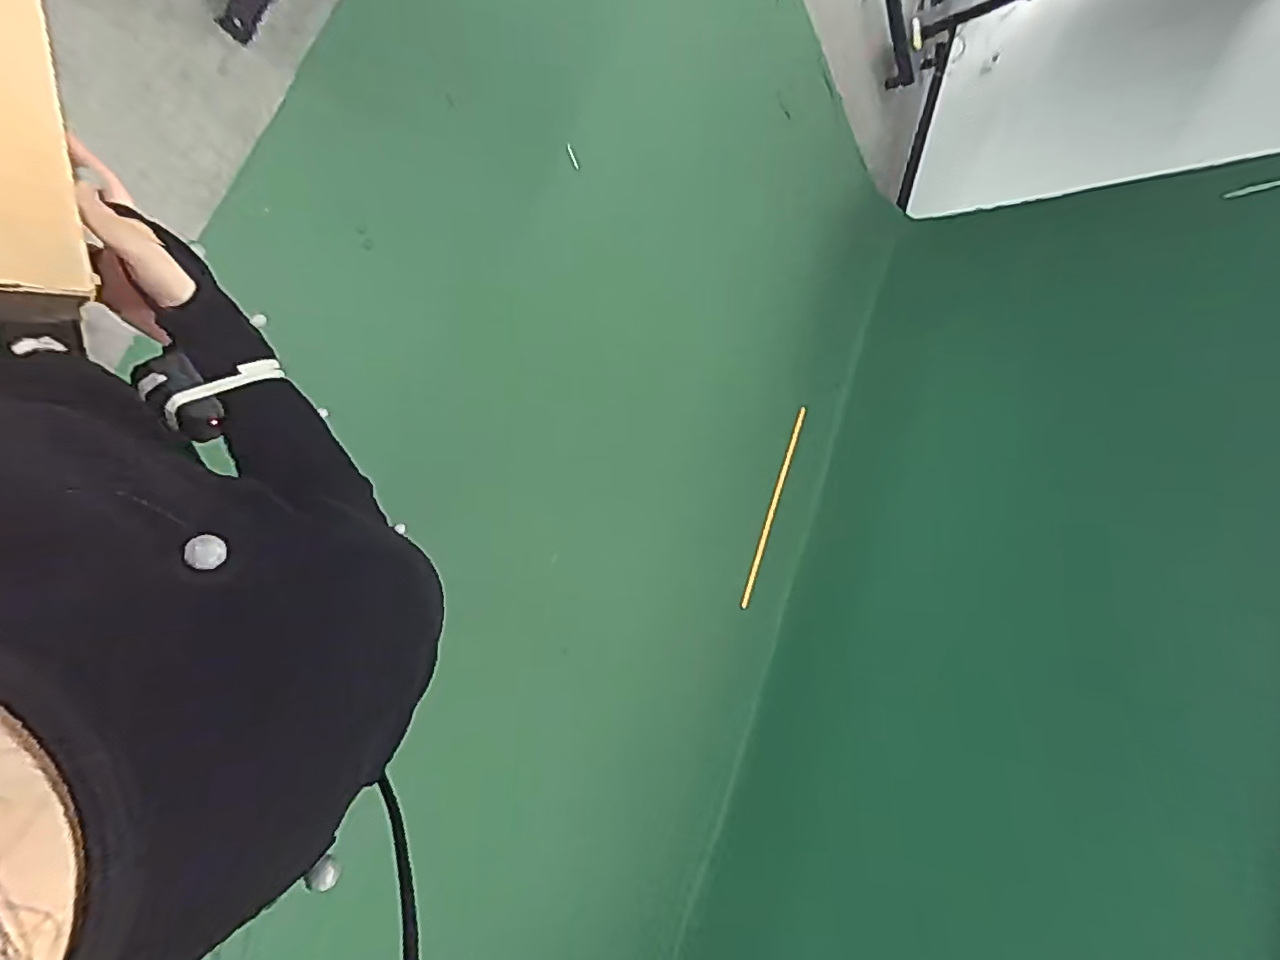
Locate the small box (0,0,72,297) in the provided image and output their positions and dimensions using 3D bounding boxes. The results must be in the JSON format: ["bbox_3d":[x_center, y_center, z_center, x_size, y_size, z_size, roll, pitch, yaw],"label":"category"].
[{"bbox_3d":[-0.450,-0.206,0.292,0.168,0.176,0.179,-13,107,-50],"label":"small box"}]
